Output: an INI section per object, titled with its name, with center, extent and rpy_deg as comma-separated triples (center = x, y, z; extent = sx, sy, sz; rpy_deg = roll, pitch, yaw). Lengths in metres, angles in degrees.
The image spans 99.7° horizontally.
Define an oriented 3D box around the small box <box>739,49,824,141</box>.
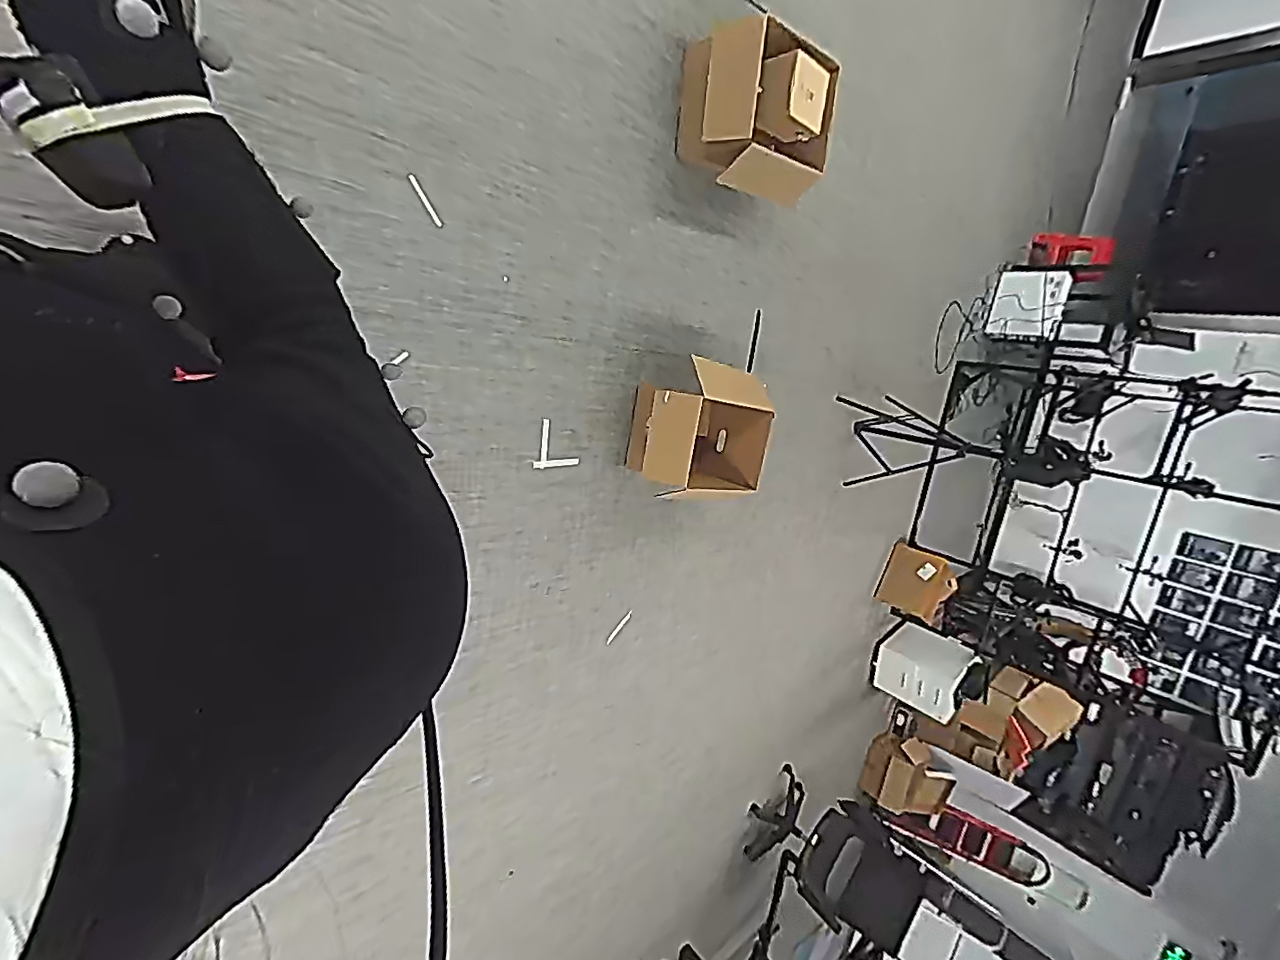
[small box]
center = 0.427, -1.155, 1.639
extent = 0.179, 0.176, 0.168
rpy_deg = -6, 109, -42
